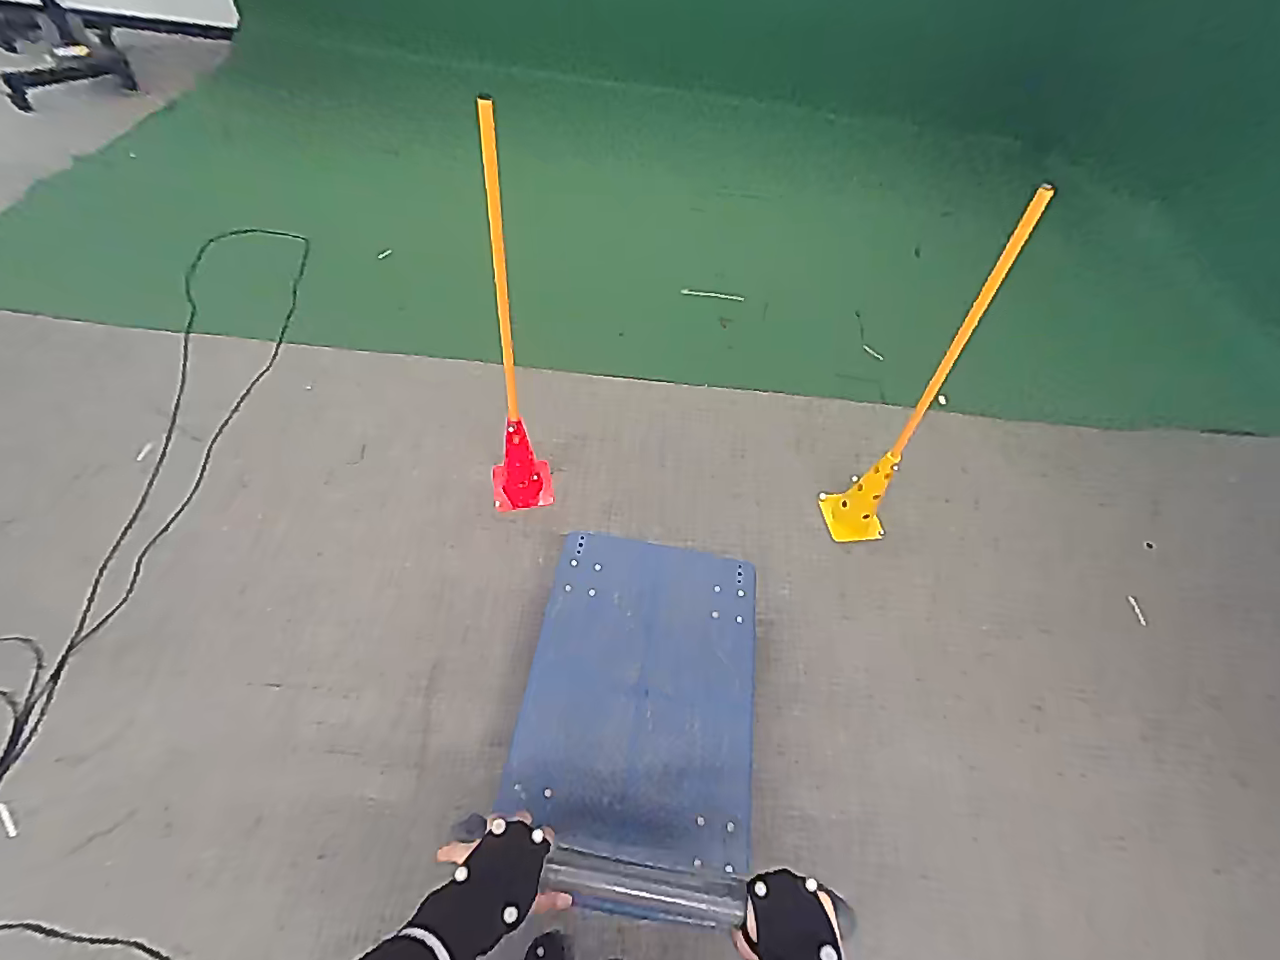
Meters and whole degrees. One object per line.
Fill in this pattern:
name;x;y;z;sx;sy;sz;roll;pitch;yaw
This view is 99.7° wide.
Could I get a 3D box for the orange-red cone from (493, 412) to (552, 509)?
orange-red cone;-0.402;-0.088;1.765;0.199;0.360;0.198;-7;55;-10
